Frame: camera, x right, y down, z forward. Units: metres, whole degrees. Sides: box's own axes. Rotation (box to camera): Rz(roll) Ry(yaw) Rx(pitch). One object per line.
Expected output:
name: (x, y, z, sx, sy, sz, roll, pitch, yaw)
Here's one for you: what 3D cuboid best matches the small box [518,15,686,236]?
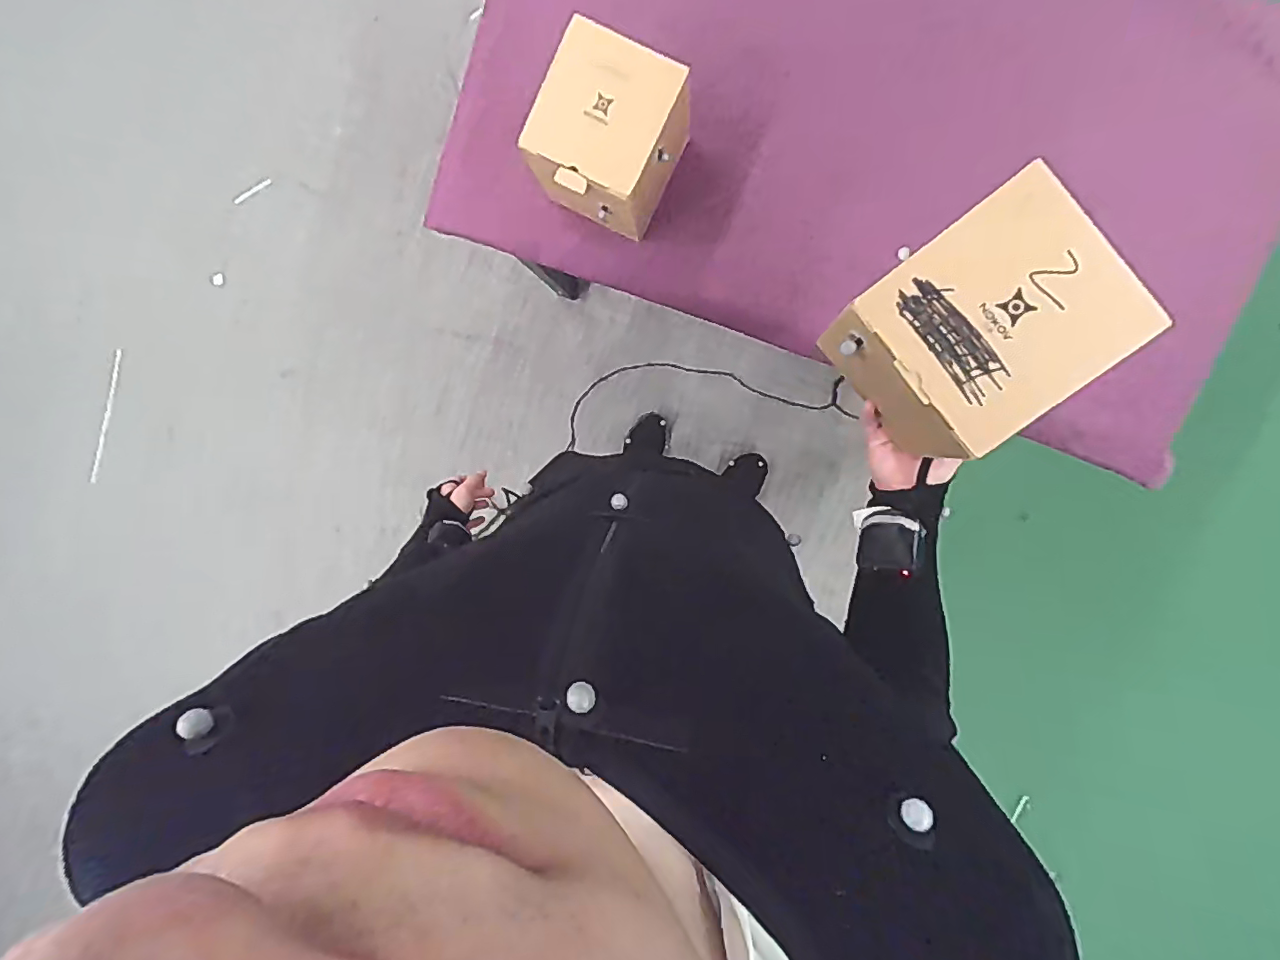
small box: (-0.042, -0.480, 0.766, 0.168, 0.176, 0.179, 28, 97, 2)
